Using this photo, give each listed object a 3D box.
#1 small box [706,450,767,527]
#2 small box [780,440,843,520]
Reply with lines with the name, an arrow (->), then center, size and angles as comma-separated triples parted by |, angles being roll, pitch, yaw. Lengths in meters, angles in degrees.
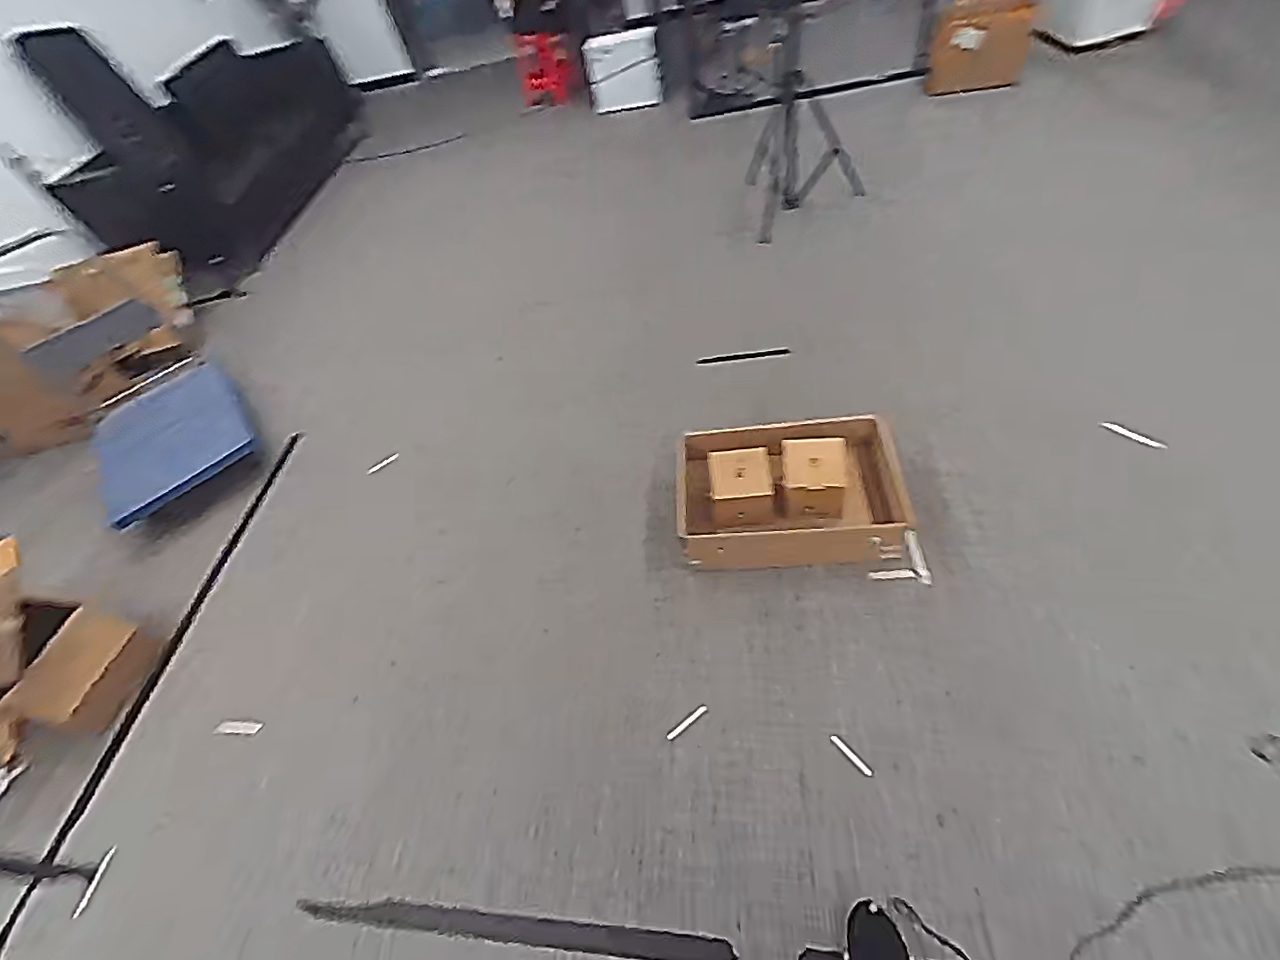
small box -> 0.293, 0.032, 1.641 | 0.168, 0.176, 0.179 | -5, 53, 8
small box -> 0.507, 0.000, 1.618 | 0.168, 0.176, 0.179 | -1, 54, 14
